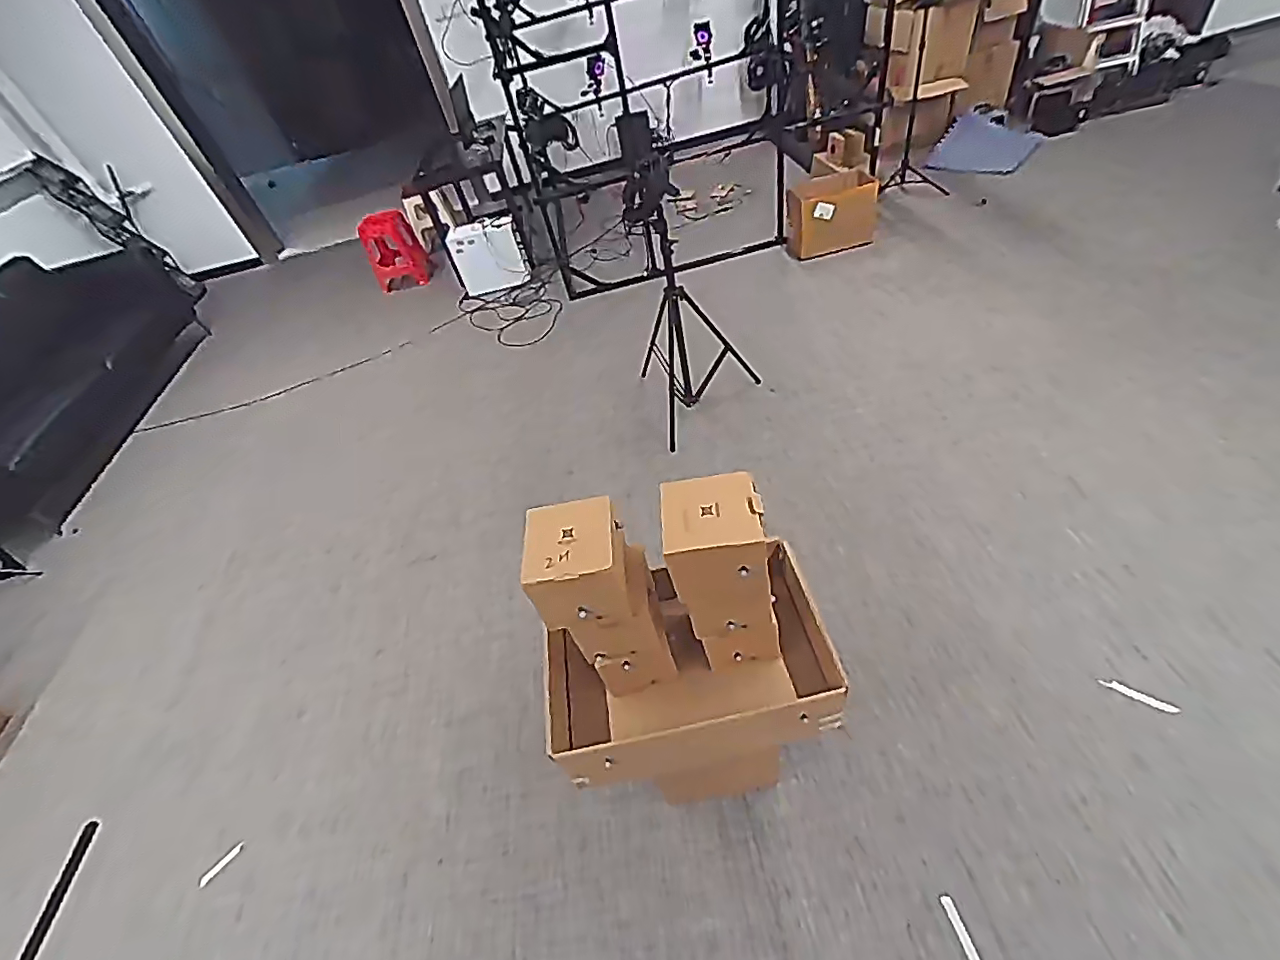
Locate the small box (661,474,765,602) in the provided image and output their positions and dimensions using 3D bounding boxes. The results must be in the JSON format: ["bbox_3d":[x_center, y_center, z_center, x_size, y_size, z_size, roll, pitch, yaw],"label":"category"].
[{"bbox_3d":[0.139,0.113,1.023,0.179,0.176,0.168,-8,47,9],"label":"small box"}]

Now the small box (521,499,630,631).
[{"bbox_3d":[-0.117,0.164,1.041,0.168,0.176,0.179,-11,46,5],"label":"small box"}]
